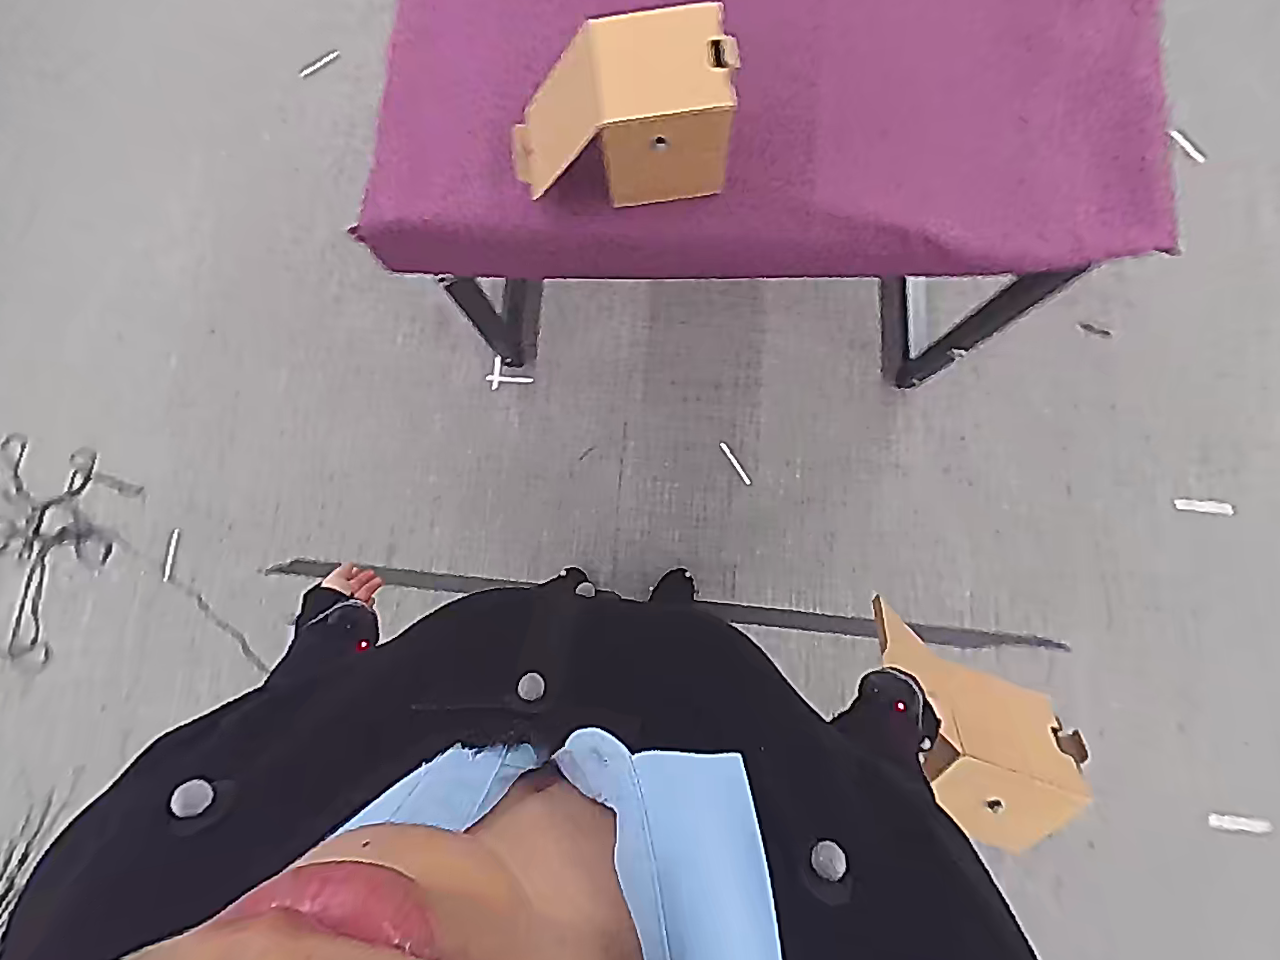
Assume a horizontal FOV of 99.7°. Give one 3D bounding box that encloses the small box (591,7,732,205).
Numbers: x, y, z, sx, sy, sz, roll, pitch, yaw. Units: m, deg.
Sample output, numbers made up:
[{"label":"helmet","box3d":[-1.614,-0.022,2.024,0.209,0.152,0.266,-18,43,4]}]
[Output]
[{"label":"small box","box3d":[0.032,-0.530,0.791,0.179,0.176,0.168,-6,81,2]}]
